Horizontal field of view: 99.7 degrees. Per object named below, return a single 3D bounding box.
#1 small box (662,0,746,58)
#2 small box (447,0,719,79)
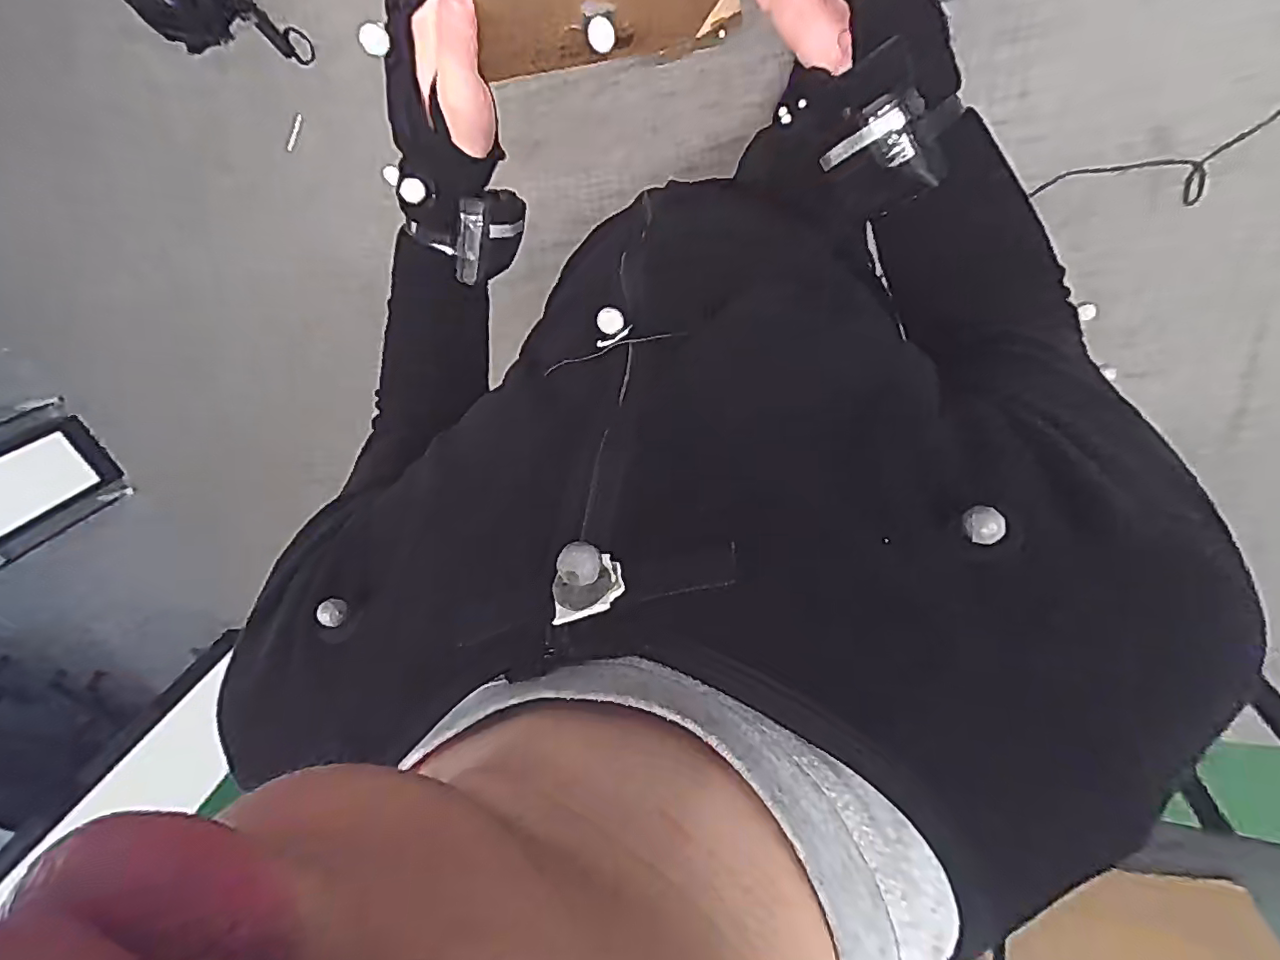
[{"bbox_3d":[0.099,-0.936,1.024,0.168,0.176,0.179,-14,118,21],"label":"small box"},{"bbox_3d":[-0.033,-0.351,0.269,0.168,0.176,0.179,-22,104,-15],"label":"small box"}]
